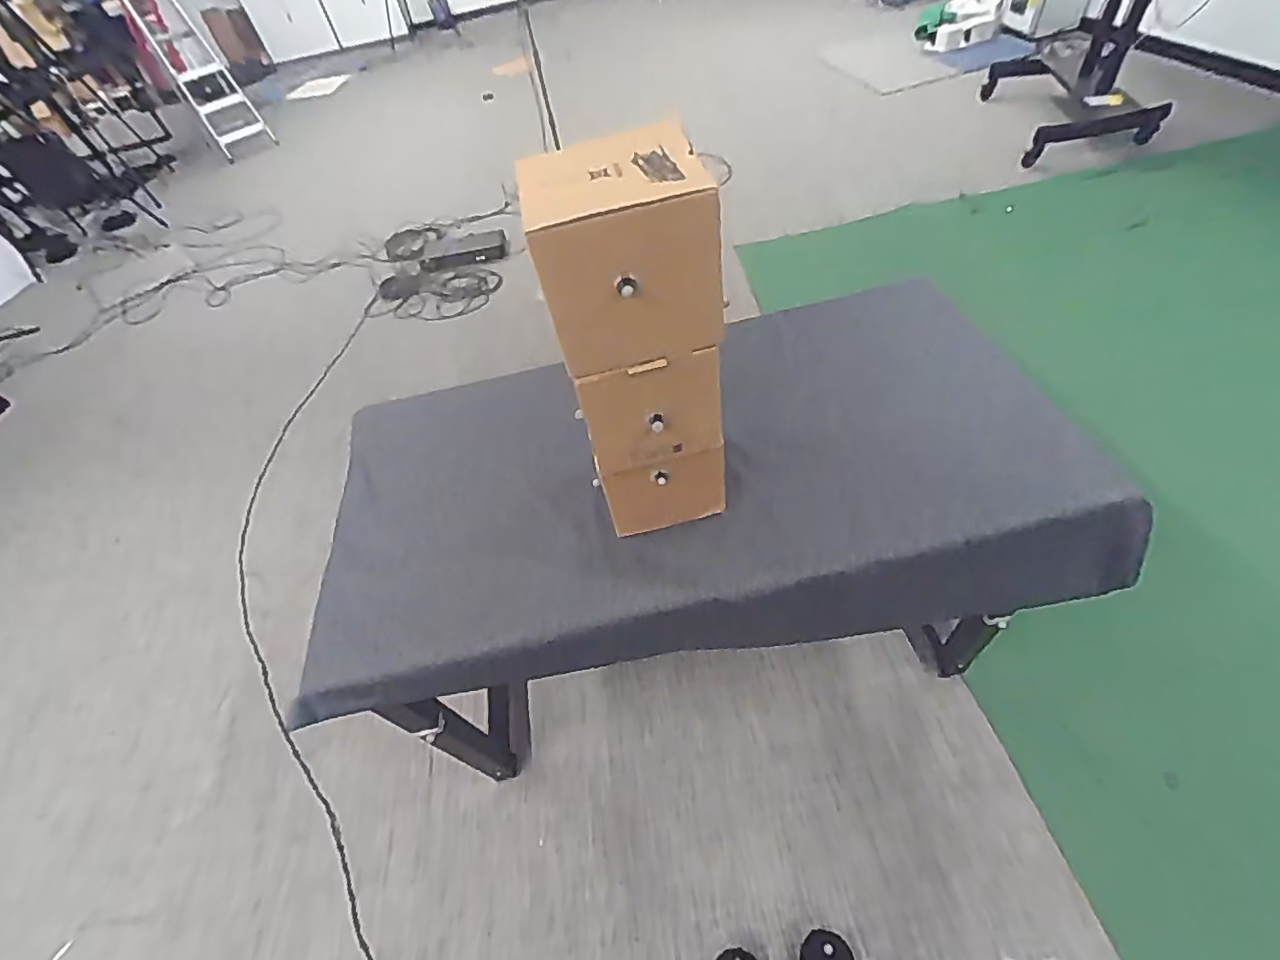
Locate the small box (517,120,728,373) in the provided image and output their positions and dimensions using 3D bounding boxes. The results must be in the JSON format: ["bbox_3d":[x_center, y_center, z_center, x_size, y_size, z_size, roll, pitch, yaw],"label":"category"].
[{"bbox_3d":[-0.016,-0.241,0.569,0.179,0.176,0.168,-15,51,-3],"label":"small box"}]

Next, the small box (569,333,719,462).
[{"bbox_3d":[0.001,-0.142,0.700,0.168,0.176,0.179,-14,52,0],"label":"small box"}]

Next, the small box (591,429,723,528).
[{"bbox_3d":[0.023,-0.046,0.830,0.179,0.176,0.168,-13,51,-1],"label":"small box"}]
